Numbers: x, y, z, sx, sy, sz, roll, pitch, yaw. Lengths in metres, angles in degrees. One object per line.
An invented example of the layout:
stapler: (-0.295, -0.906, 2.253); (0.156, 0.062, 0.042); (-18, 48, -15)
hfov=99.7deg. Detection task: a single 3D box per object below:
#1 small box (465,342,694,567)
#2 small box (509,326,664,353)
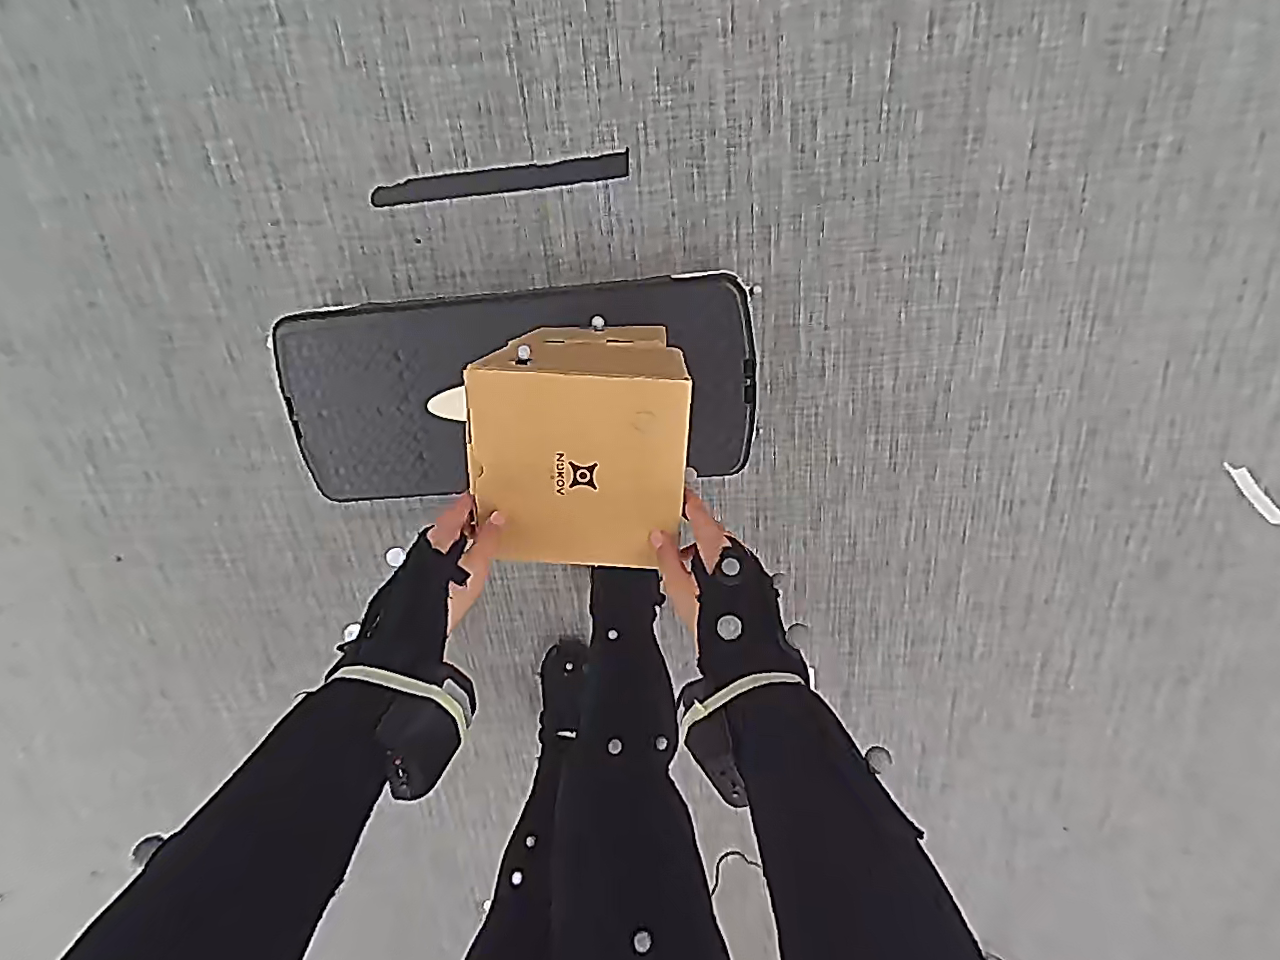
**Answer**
small box: (-0.047, -0.034, 0.509); (0.179, 0.176, 0.168); (3, 111, 2)
small box: (-0.052, -0.091, 0.662); (0.168, 0.176, 0.179); (0, 110, 2)
